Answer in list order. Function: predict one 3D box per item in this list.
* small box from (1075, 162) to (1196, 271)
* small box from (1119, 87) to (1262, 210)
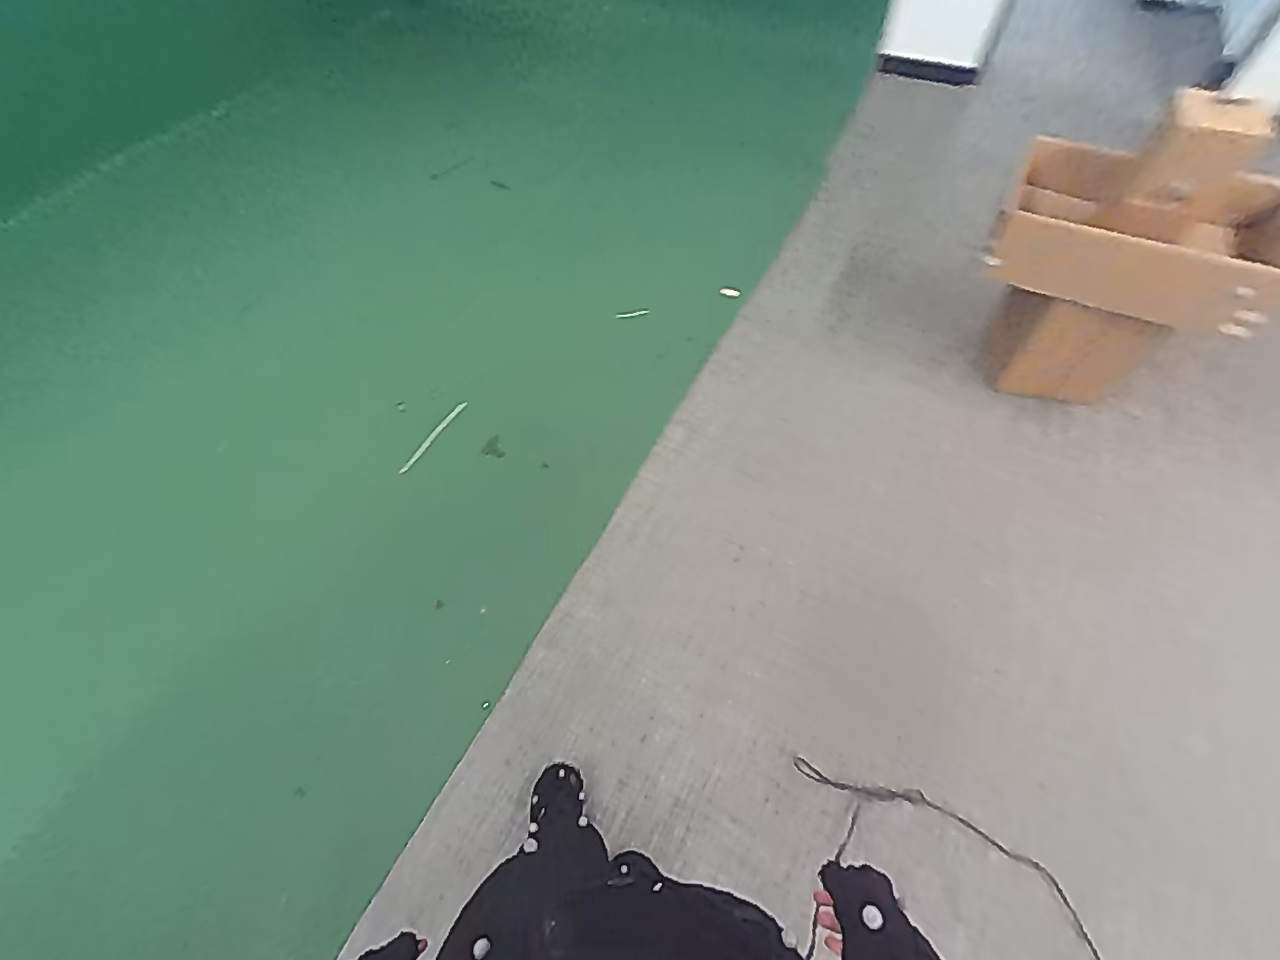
[{"bbox_3d":[1.247,-0.667,1.374,0.168,0.176,0.179,19,62,15],"label":"small box"},{"bbox_3d":[1.242,-0.754,1.235,0.168,0.176,0.179,20,62,16],"label":"small box"}]
